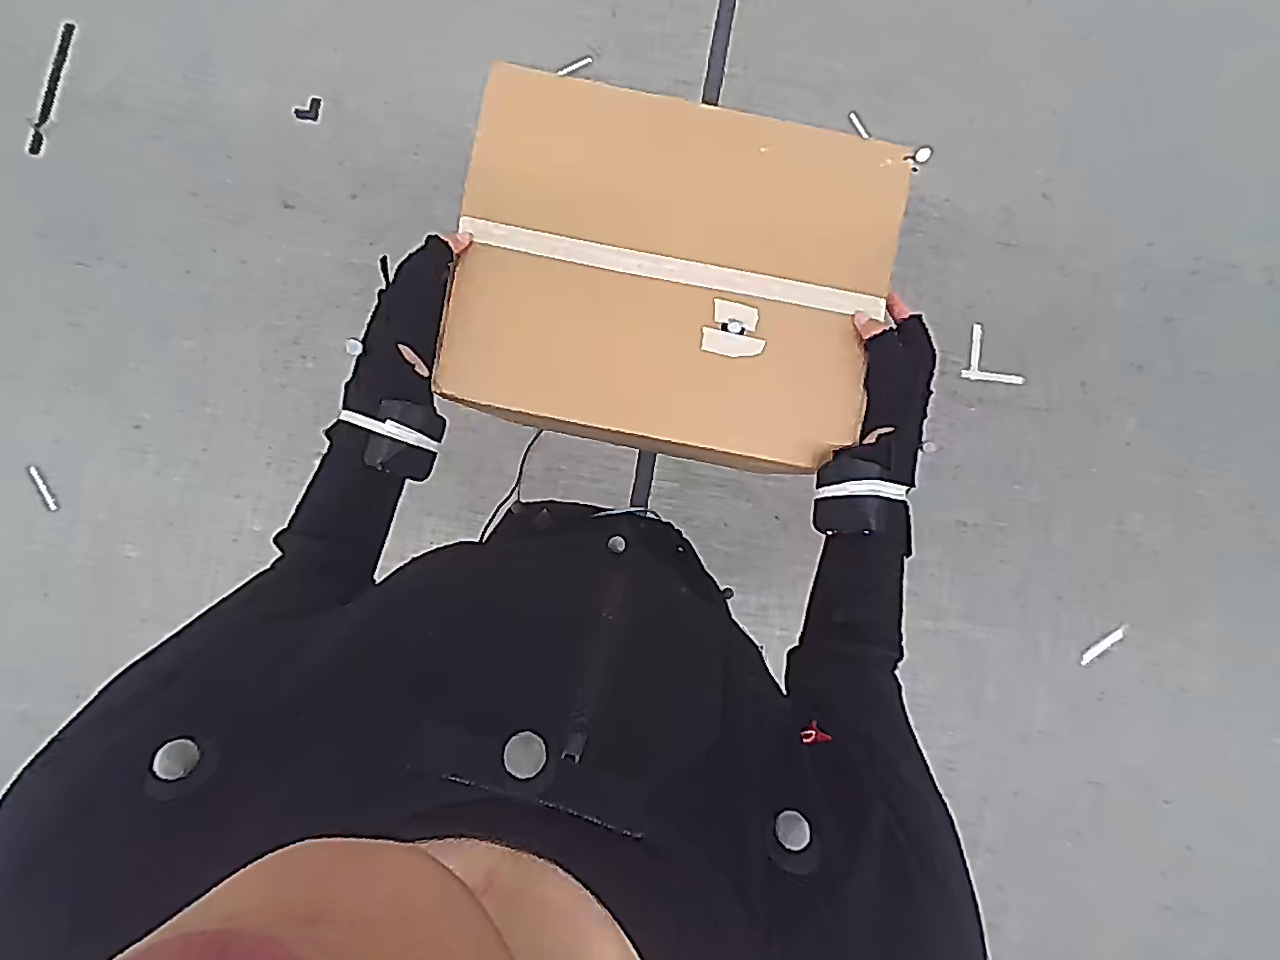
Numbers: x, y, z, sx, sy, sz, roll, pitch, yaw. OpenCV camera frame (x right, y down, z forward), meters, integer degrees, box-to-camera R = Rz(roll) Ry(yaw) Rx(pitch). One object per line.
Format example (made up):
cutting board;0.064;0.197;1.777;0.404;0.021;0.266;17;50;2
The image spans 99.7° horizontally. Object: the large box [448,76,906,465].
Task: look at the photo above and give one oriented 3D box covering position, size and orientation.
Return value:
large box;0.031;-0.204;0.668;0.408;0.320;0.320;12;92;-1
